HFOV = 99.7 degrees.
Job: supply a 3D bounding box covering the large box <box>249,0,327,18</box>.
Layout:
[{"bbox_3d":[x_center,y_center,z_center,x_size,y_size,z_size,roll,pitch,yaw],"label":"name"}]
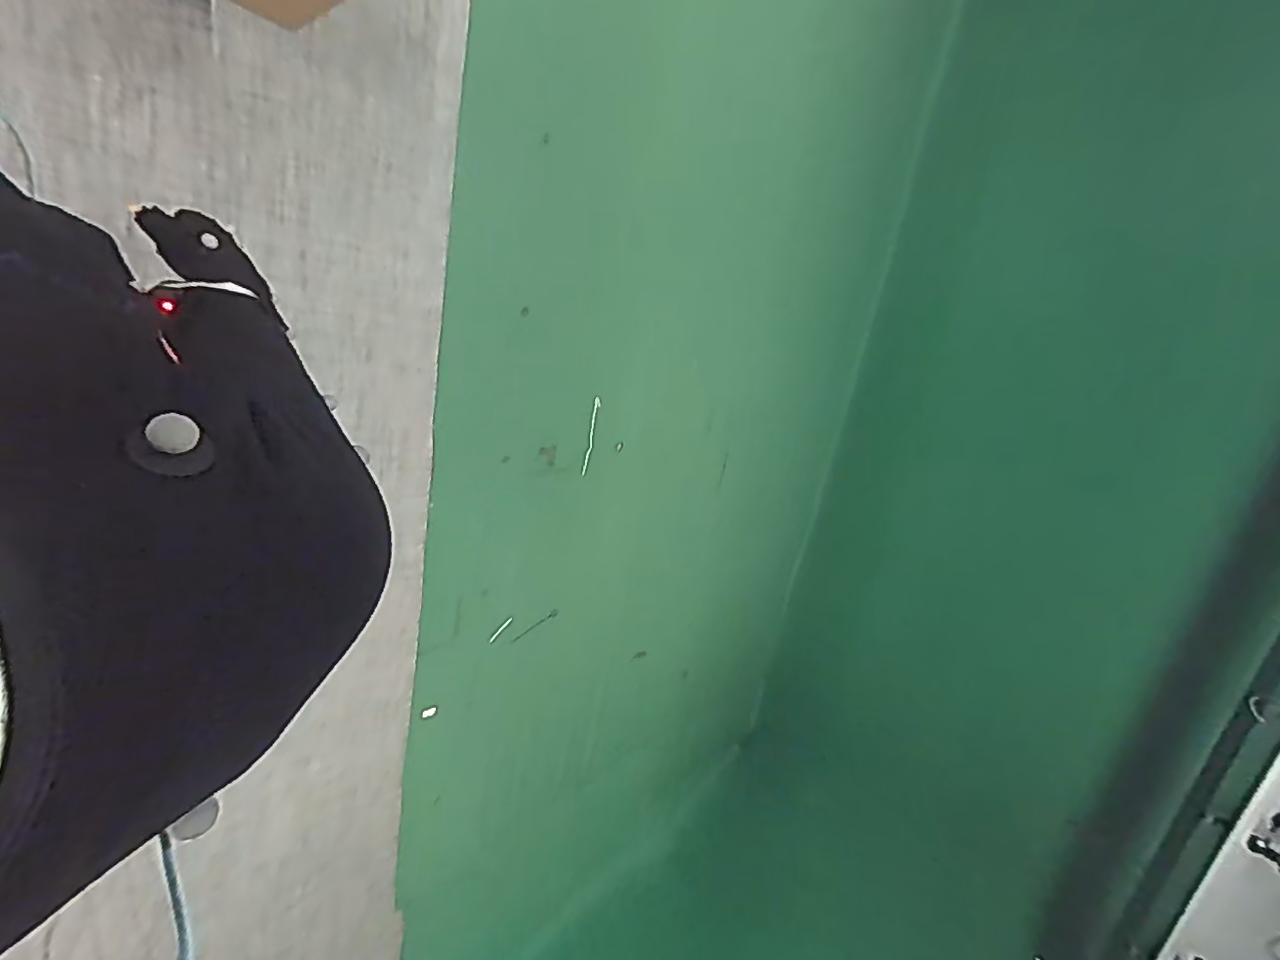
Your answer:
[{"bbox_3d":[-0.641,-0.932,0.732,0.408,0.320,0.320,-5,112,-48],"label":"large box"}]
